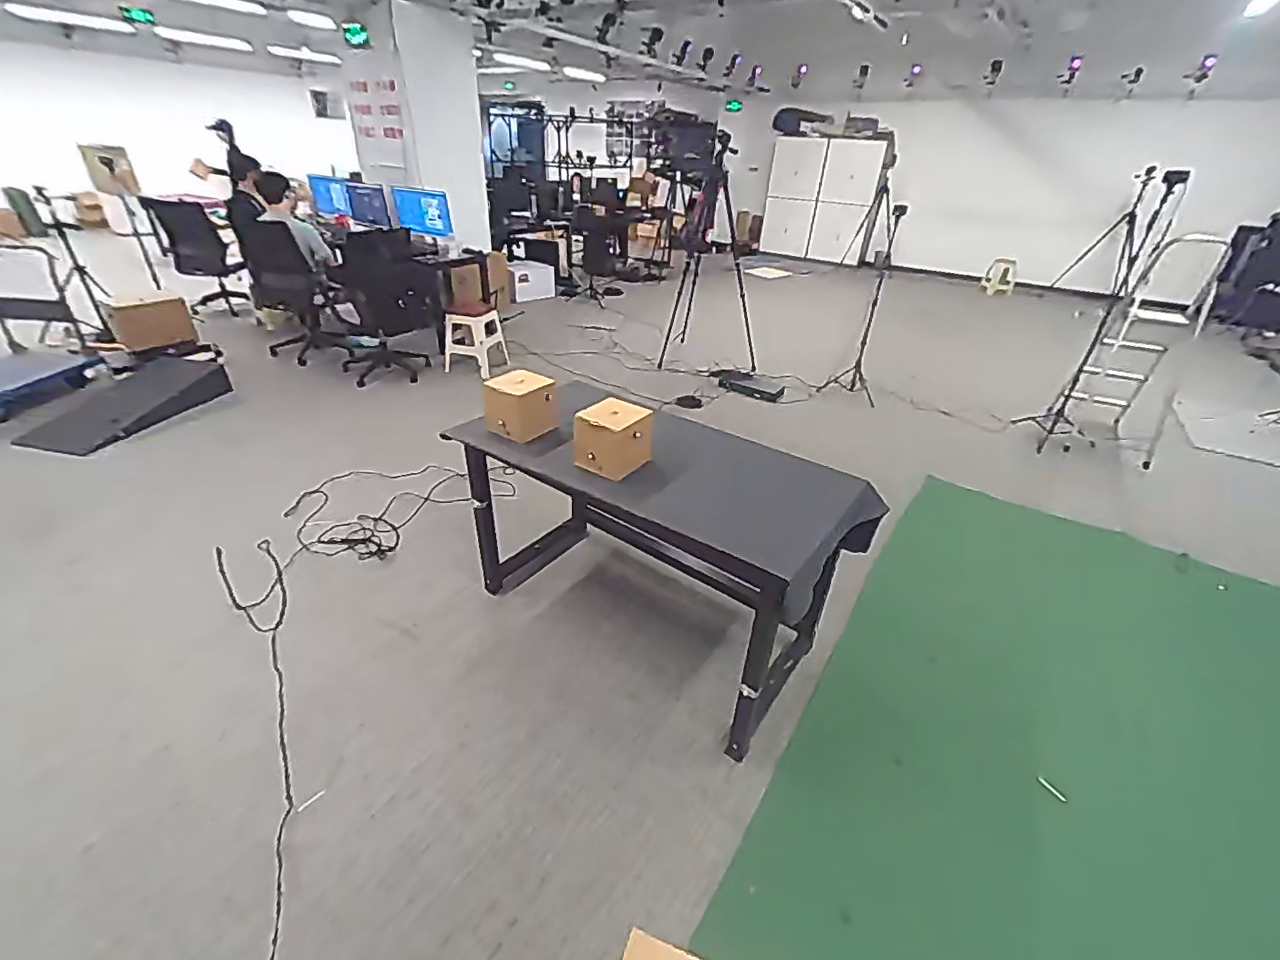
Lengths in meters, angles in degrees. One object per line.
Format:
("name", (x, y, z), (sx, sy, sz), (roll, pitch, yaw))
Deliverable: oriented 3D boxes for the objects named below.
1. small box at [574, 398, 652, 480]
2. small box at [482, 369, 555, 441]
("small box", (-0.085, -0.124, 1.623), (0.168, 0.176, 0.179), (23, 36, 28))
("small box", (-0.398, -0.249, 1.786), (0.168, 0.176, 0.179), (22, 36, 27))
